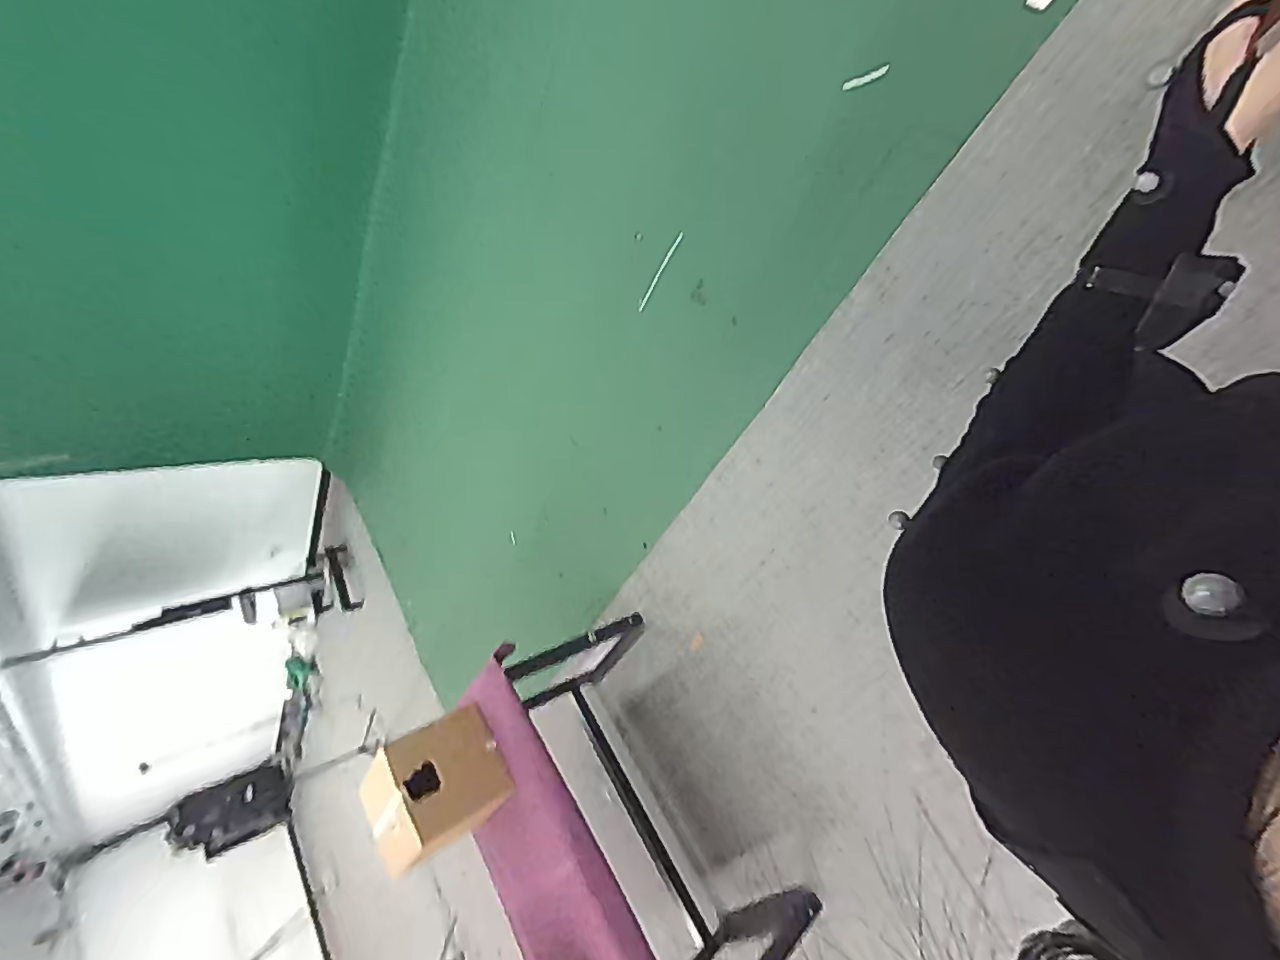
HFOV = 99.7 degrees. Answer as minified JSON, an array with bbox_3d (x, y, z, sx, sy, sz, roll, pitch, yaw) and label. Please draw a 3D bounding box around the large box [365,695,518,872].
[{"bbox_3d":[-0.654,0.979,1.764,0.320,0.320,0.408,52,128,23],"label":"large box"}]
